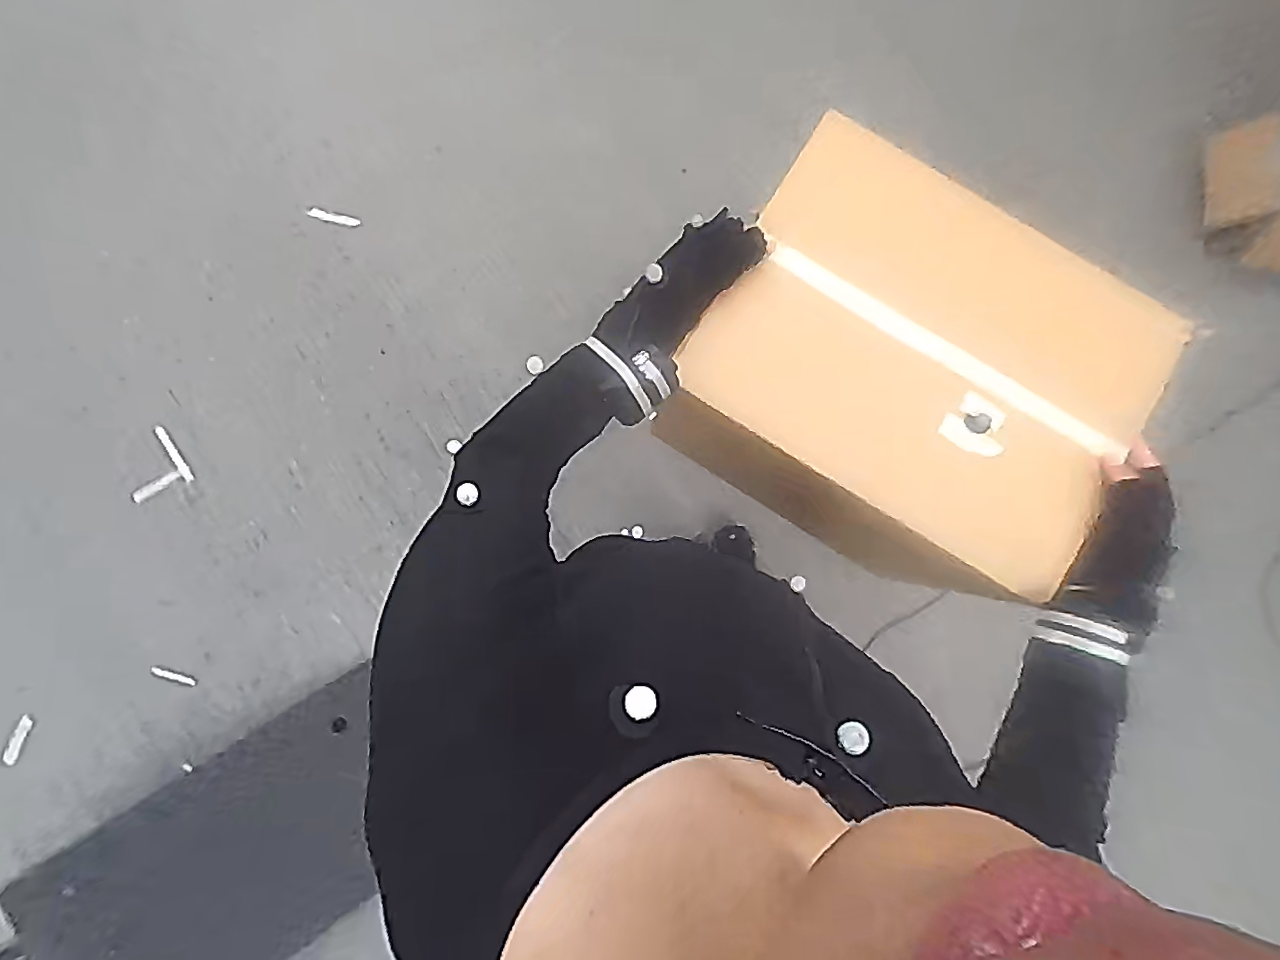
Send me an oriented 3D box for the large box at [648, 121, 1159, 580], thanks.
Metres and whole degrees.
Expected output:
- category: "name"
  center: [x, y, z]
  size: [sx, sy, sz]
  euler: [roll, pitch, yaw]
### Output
- category: "large box"
  center: [0.261, -0.119, 0.669]
  size: [0.408, 0.320, 0.320]
  euler: [31, 85, 1]
